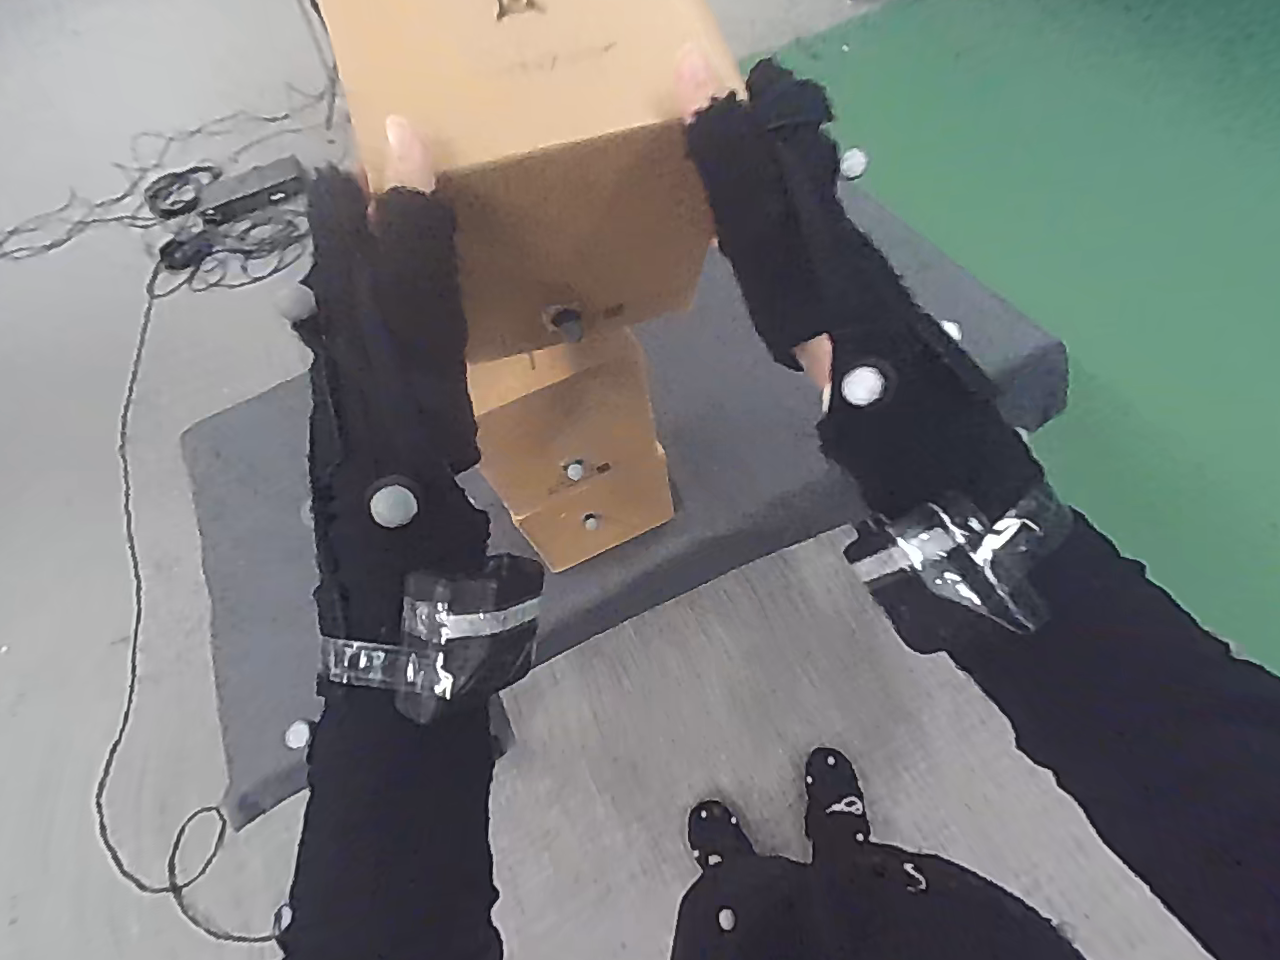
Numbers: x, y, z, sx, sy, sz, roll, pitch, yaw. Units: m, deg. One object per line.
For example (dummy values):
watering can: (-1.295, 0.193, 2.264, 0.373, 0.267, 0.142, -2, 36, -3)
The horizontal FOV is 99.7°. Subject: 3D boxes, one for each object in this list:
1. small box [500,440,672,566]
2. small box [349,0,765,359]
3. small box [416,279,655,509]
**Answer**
small box: (-0.073, -0.016, 0.679, 0.179, 0.176, 0.168, -24, 61, -5)
small box: (-0.051, -0.200, 0.320, 0.168, 0.176, 0.179, -16, 78, -7)
small box: (-0.095, -0.101, 0.539, 0.168, 0.176, 0.179, -23, 61, -5)
